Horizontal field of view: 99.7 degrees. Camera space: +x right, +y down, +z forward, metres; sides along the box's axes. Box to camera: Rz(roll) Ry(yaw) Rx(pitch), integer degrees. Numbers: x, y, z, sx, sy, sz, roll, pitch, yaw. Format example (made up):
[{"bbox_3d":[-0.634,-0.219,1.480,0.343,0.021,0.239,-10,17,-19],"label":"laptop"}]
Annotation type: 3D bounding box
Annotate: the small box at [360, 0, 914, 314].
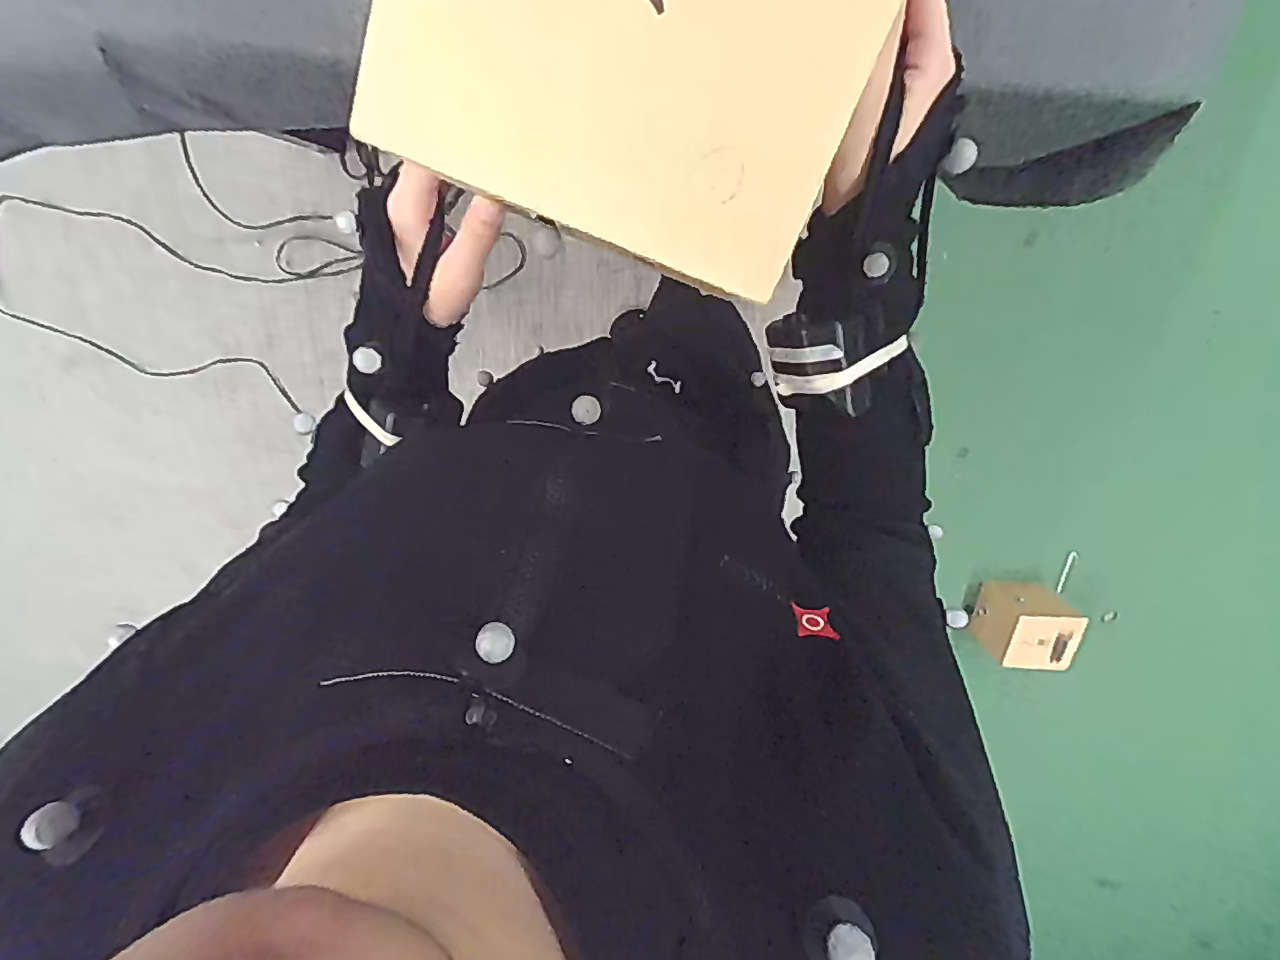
[{"bbox_3d":[0.012,-0.190,0.244,0.168,0.176,0.179,21,108,-2],"label":"small box"}]
